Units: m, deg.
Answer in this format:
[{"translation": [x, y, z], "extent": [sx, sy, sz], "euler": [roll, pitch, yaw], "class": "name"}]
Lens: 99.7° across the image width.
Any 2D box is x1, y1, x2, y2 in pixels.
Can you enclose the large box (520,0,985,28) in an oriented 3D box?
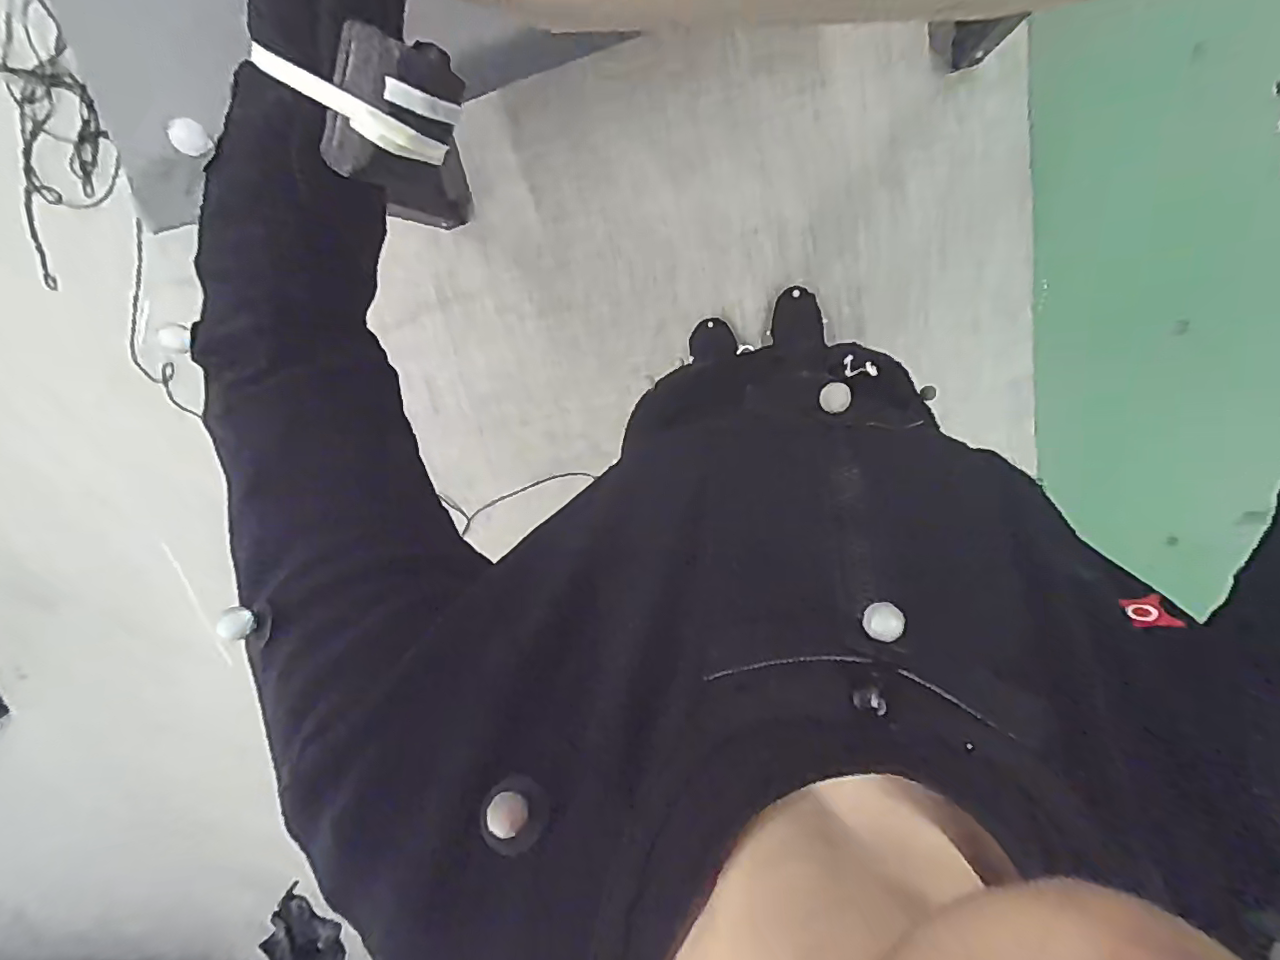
[{"translation": [0.108, -0.450, 0.271], "extent": [0.408, 0.320, 0.320], "euler": [-1, 127, 2], "class": "large box"}]
